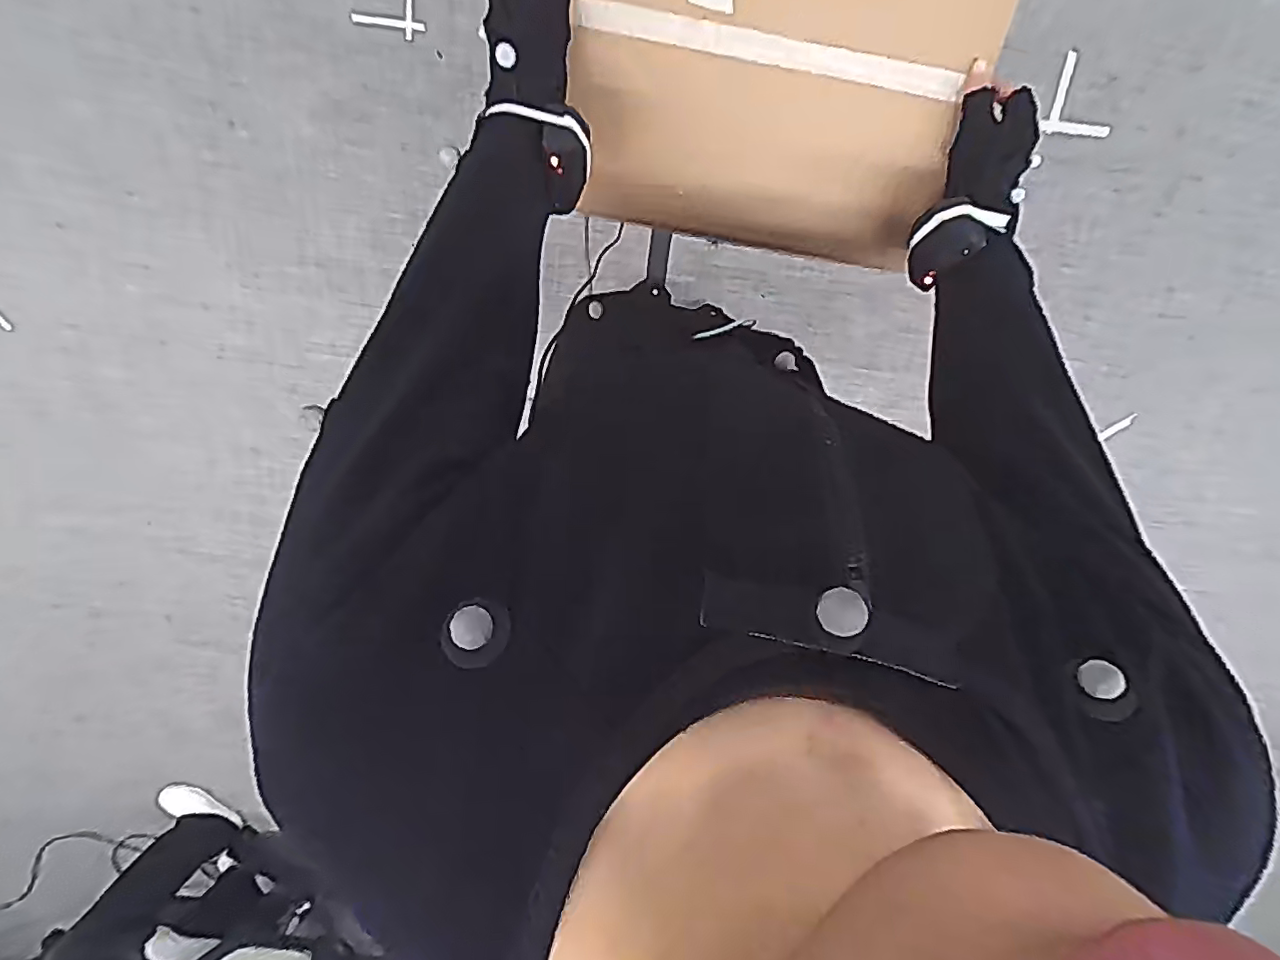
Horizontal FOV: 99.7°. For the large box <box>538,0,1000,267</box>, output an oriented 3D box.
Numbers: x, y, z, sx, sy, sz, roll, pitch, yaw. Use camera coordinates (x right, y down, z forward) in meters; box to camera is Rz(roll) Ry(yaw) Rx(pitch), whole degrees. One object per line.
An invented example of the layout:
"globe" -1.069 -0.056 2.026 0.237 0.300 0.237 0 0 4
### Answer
"large box" 0.120 -0.453 0.641 0.408 0.320 0.320 10 112 -2
